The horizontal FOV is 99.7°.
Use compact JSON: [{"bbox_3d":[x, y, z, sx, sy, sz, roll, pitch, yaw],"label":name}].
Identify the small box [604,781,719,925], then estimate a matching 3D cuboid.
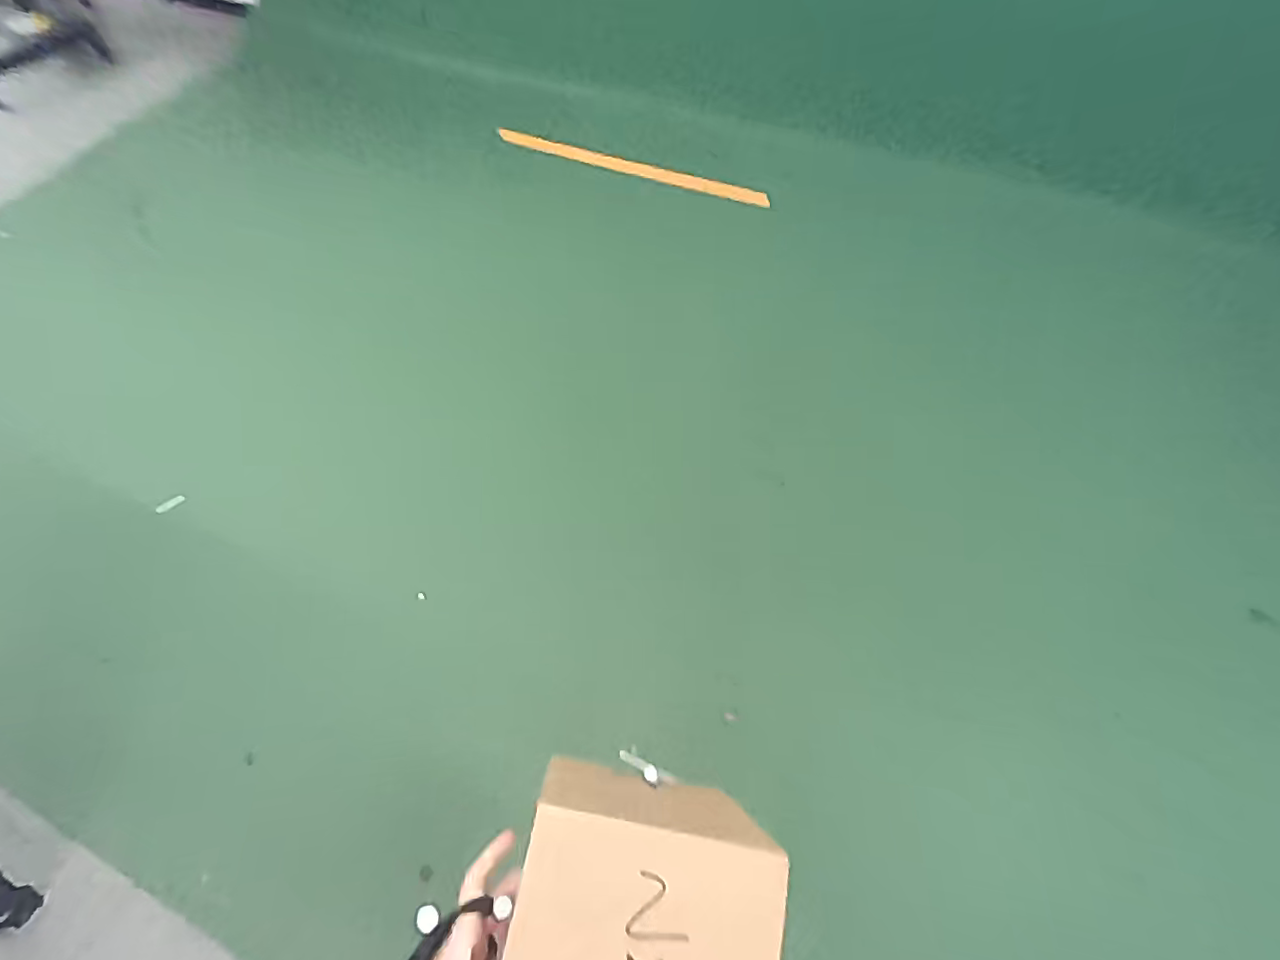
[{"bbox_3d":[0.041,0.730,1.083,0.168,0.176,0.179,25,65,13],"label":"small box"}]
